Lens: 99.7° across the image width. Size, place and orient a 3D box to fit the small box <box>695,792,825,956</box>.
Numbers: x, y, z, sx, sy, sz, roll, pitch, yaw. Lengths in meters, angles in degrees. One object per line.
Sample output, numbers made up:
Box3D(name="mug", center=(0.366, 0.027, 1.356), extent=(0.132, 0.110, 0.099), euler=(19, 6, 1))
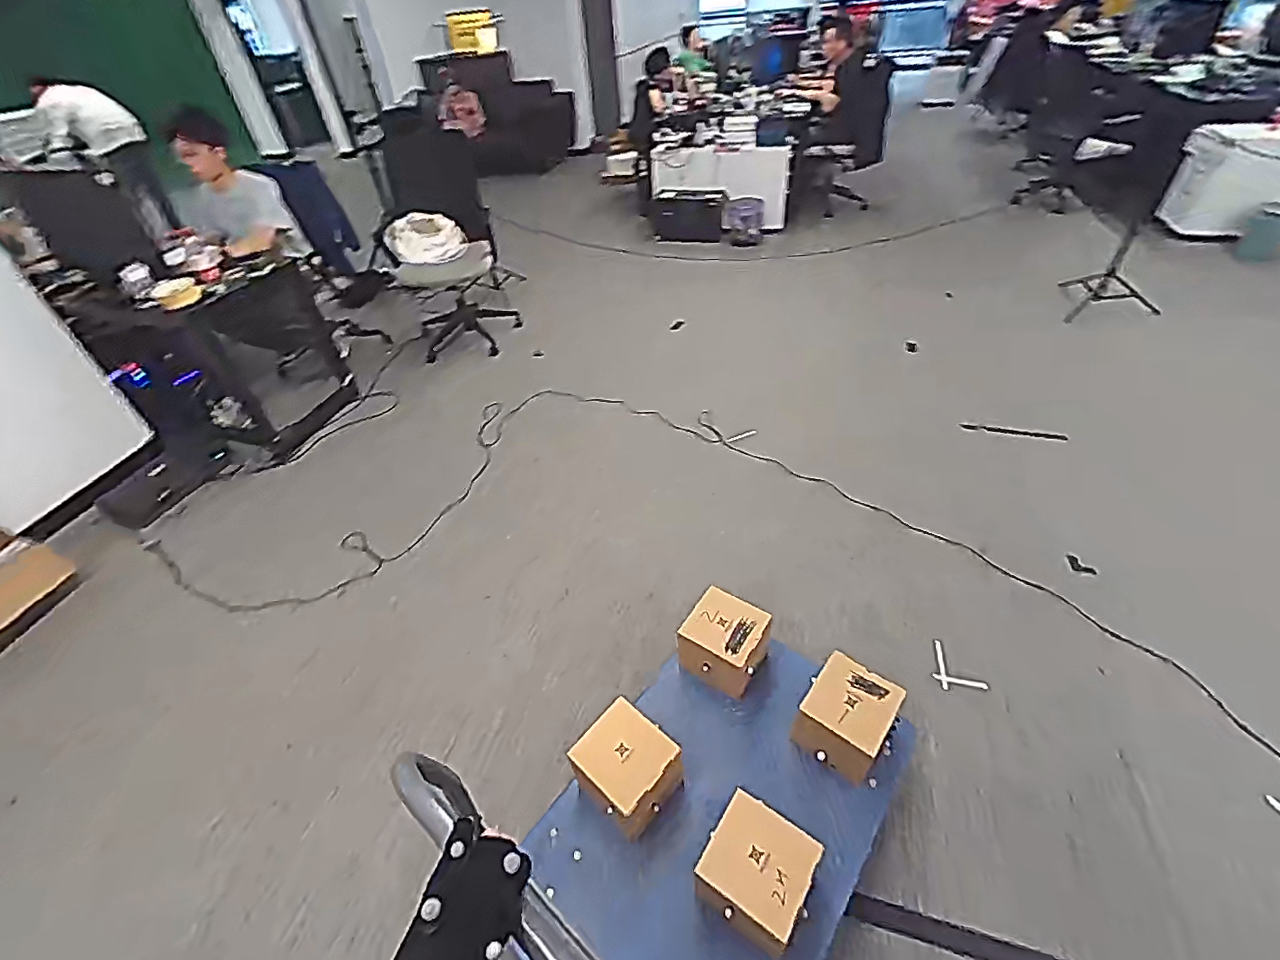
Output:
Box3D(name="small box", center=(0.217, 0.732, 1.003), extent=(0.179, 0.176, 0.168), euler=(24, 49, 29))

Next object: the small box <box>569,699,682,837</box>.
Box3D(name="small box", center=(-0.027, 0.618, 1.157), extent=(0.179, 0.176, 0.168), euler=(30, 52, 31))

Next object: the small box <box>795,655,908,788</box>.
Box3D(name="small box", center=(0.460, 0.534, 1.199), extent=(0.168, 0.176, 0.179), euler=(27, 52, 31))
